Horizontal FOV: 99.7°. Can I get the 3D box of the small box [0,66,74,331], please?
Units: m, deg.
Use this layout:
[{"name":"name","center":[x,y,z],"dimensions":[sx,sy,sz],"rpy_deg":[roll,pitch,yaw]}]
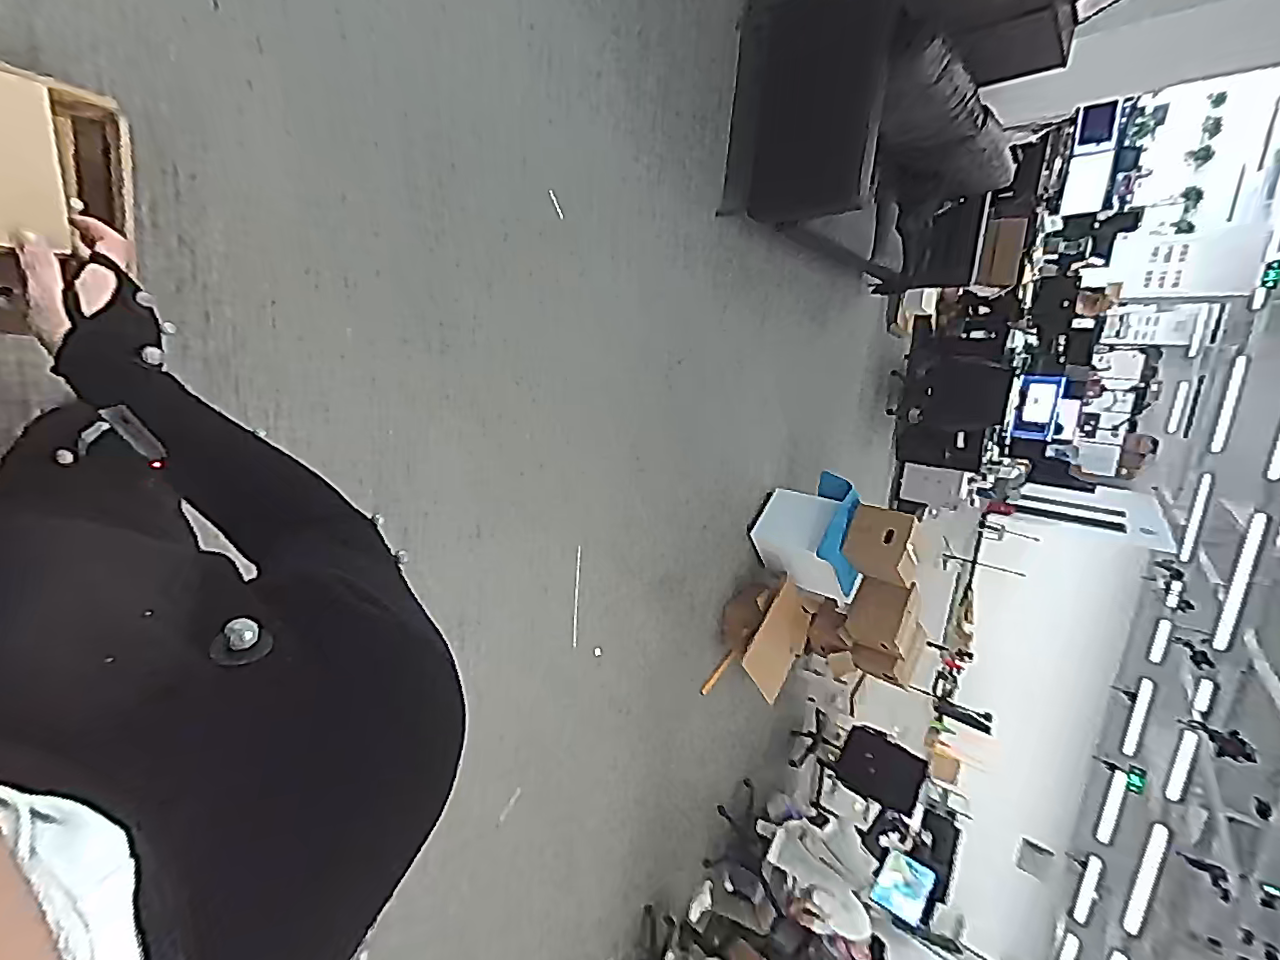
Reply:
[{"name":"small box","center":[-0.622,-0.247,0.471],"dimensions":[0.168,0.176,0.179],"rpy_deg":[-9,82,-48]}]
